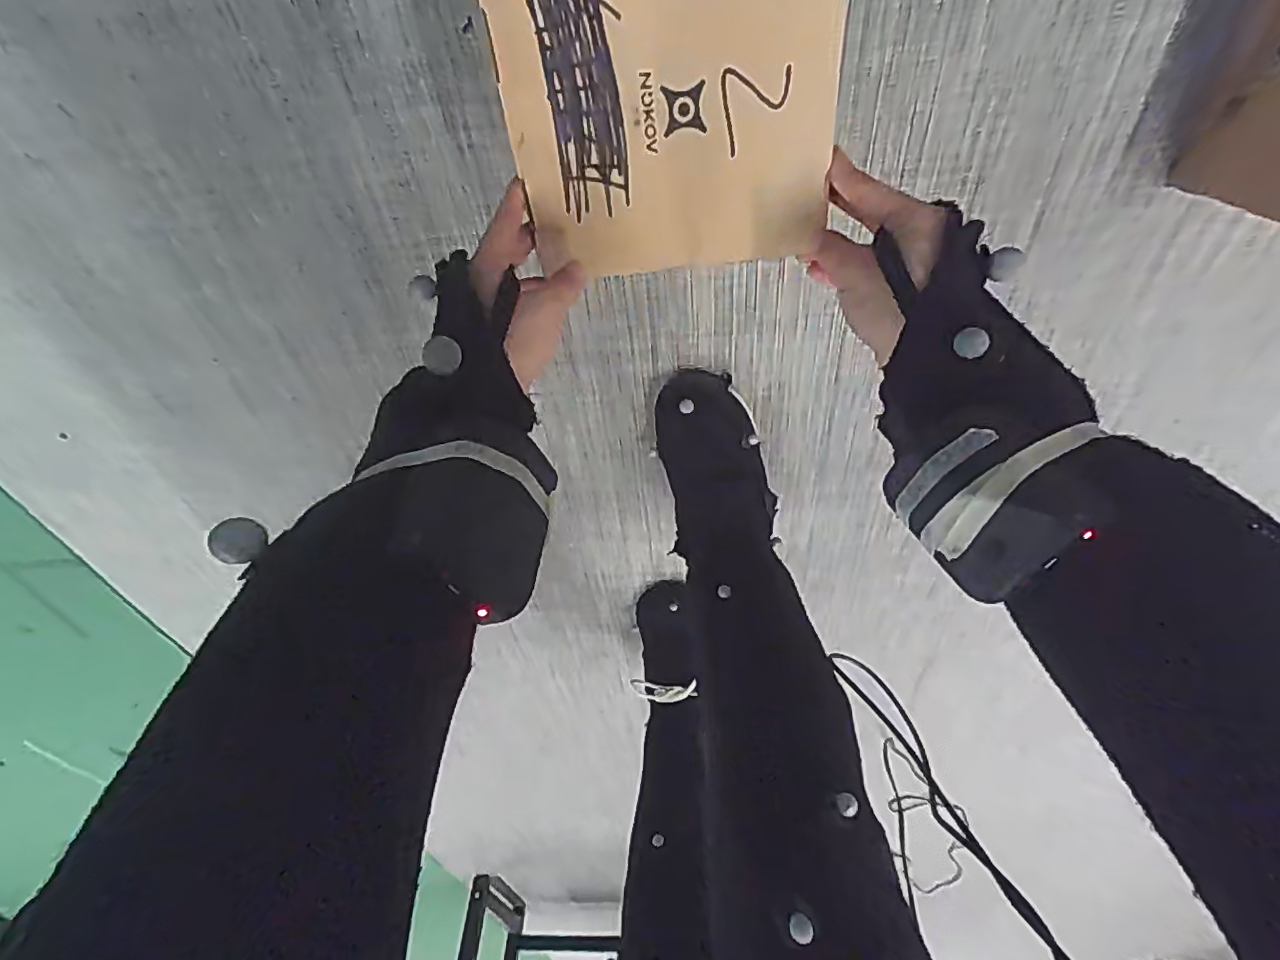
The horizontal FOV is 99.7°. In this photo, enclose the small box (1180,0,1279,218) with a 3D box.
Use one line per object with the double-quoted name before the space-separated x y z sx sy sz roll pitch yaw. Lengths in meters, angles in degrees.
"small box" 0.529 -0.264 0.340 0.179 0.176 0.168 -1 132 4
